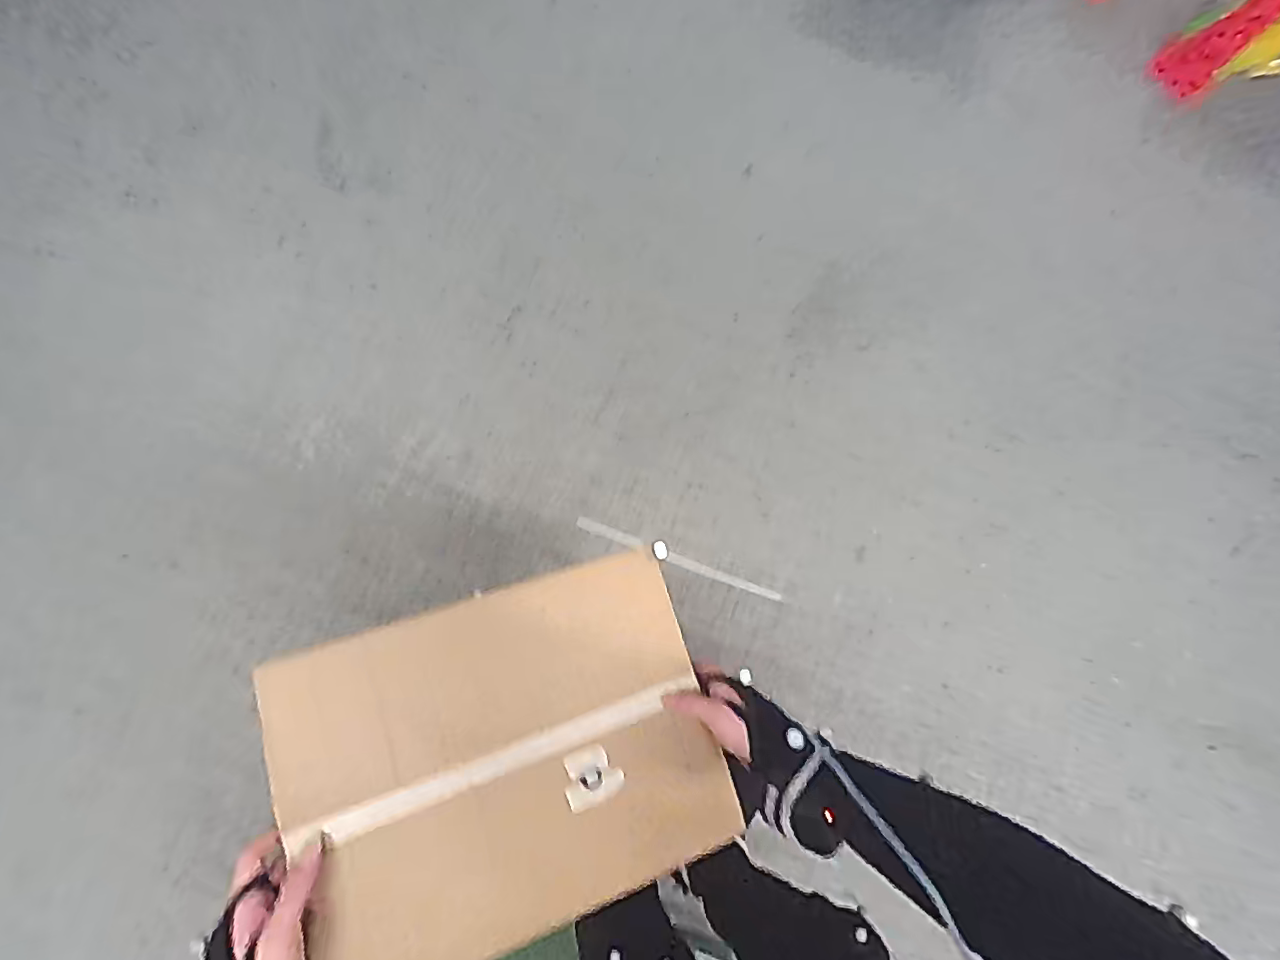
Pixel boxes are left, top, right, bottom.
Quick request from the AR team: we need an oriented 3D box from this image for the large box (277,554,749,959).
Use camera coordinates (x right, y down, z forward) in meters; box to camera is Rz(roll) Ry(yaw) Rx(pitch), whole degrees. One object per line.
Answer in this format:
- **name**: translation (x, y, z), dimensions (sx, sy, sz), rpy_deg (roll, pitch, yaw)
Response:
- **large box**: translation (-0.146, 0.316, 0.674), dimensions (0.408, 0.320, 0.320), rpy_deg (-15, 80, -17)
